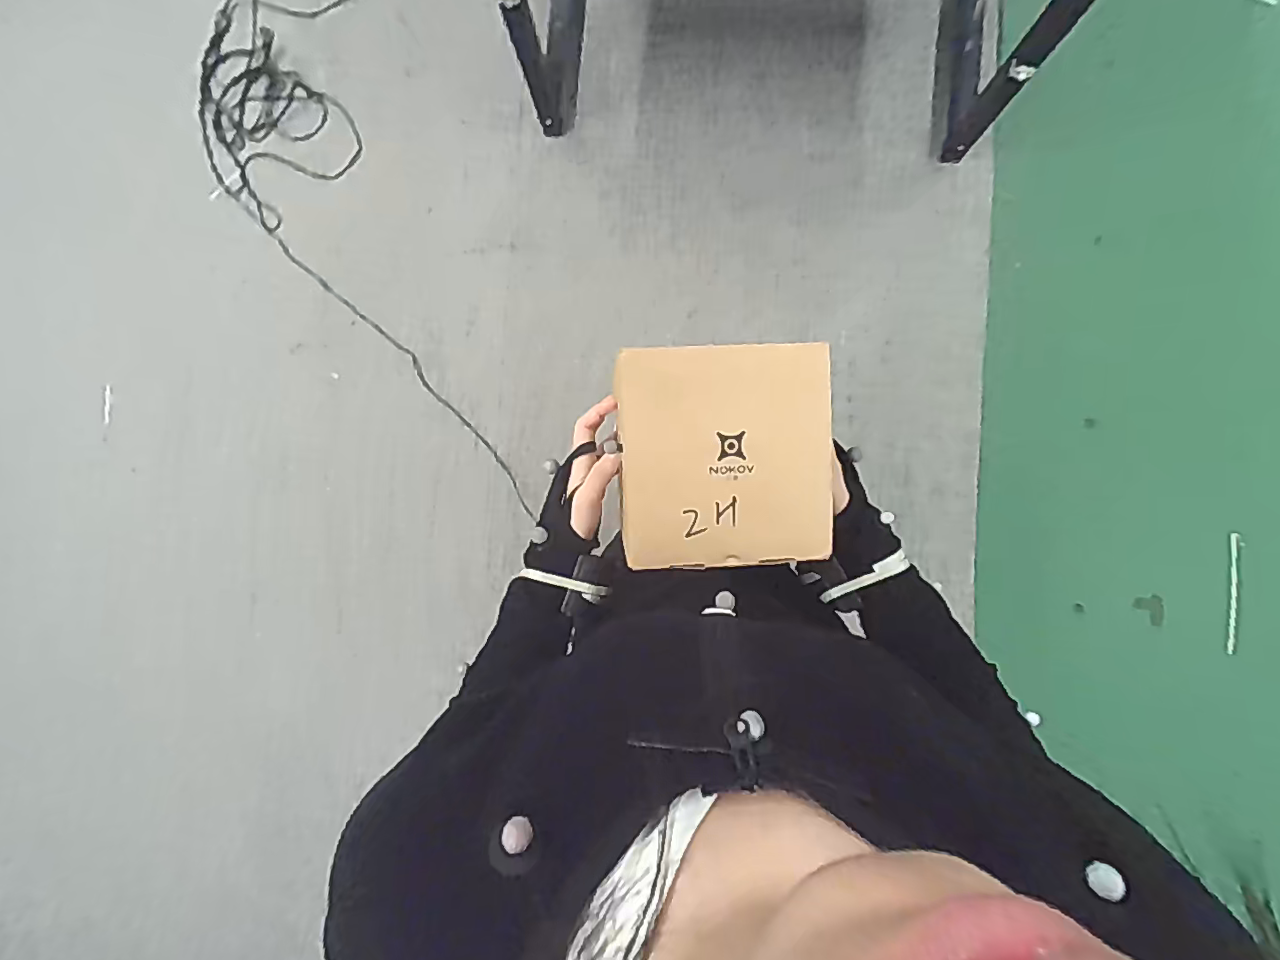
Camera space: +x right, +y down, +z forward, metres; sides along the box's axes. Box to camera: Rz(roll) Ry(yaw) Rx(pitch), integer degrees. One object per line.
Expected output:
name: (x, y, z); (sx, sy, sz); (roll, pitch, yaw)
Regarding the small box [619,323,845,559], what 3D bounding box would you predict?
small box: (0.068, -0.034, 0.488); (0.168, 0.176, 0.179); (-3, 94, -4)
